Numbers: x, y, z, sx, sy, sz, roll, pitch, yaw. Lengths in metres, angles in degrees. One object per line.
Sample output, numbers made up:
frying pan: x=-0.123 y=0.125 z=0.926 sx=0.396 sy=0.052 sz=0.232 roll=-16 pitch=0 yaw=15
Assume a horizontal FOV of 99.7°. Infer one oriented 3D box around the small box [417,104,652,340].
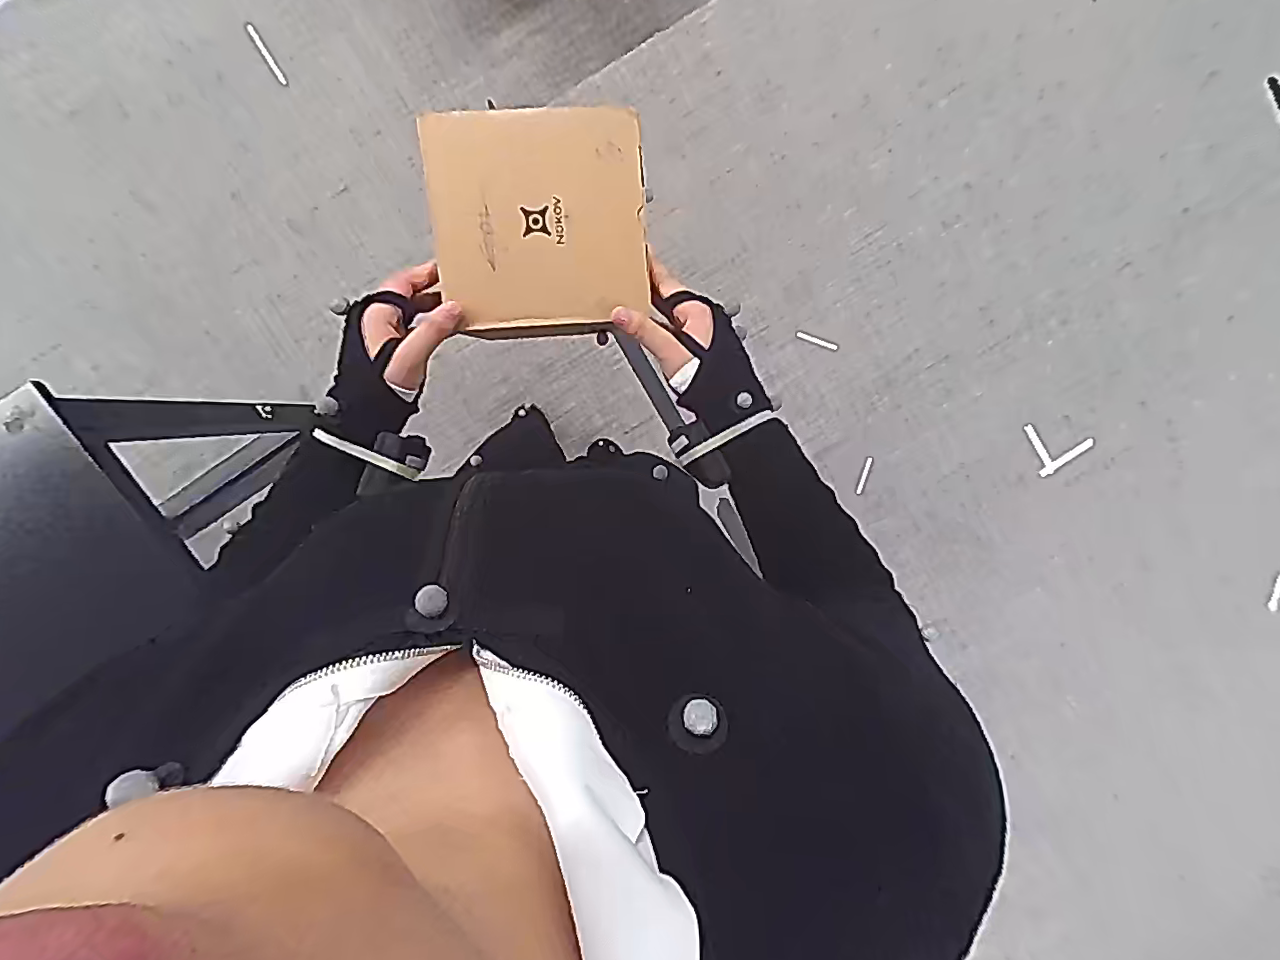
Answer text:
small box: x=-0.087 y=-0.227 z=0.518 sx=0.179 sy=0.176 sz=0.168 roll=-5 pitch=101 yaw=-2
